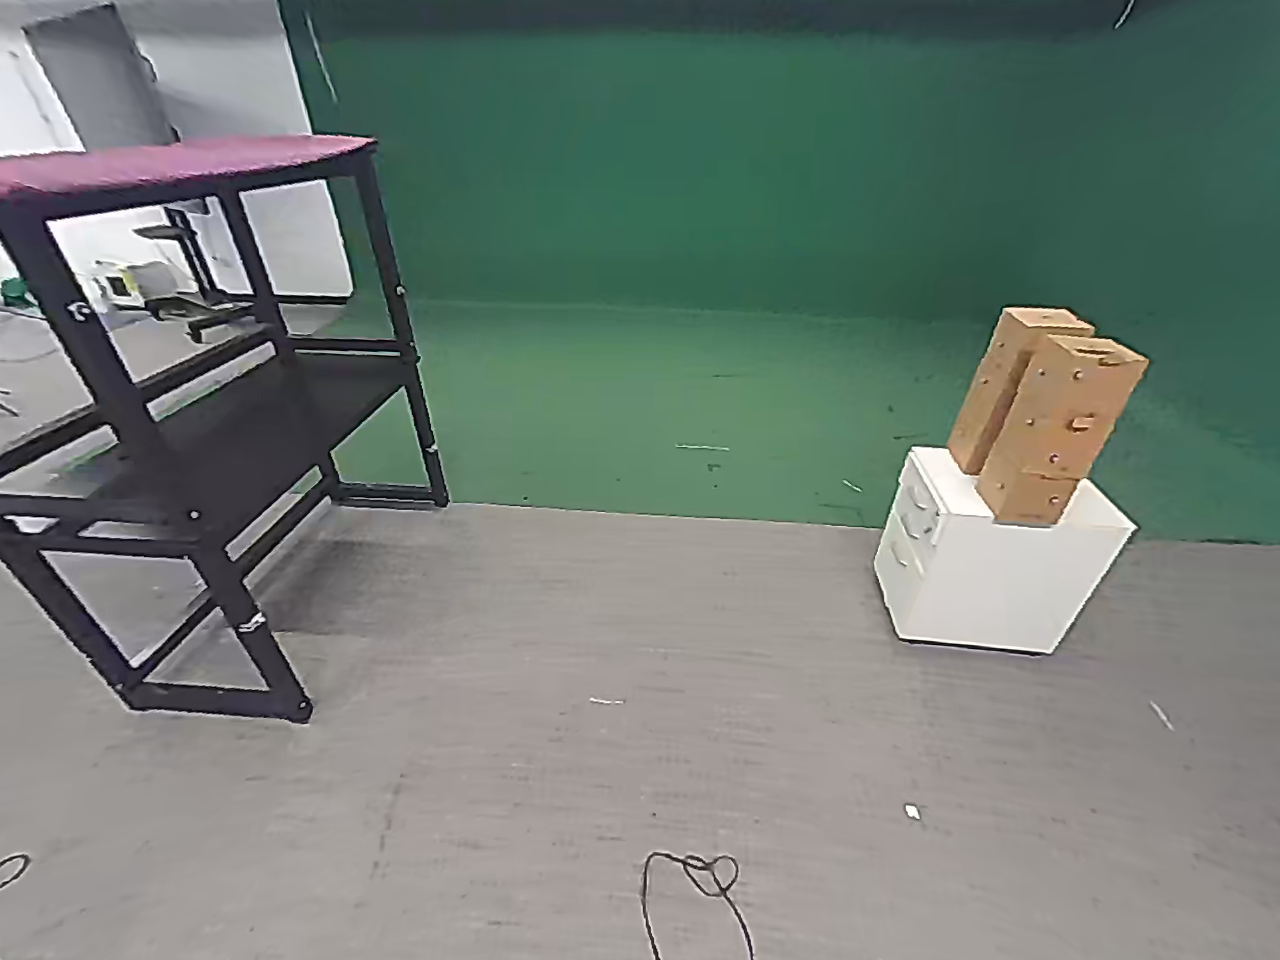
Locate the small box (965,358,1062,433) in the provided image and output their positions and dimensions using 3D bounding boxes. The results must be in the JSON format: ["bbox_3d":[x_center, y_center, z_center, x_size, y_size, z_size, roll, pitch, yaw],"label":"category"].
[{"bbox_3d":[1.152,-0.266,1.687,0.168,0.176,0.179,5,36,5],"label":"small box"}]

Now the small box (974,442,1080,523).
[{"bbox_3d":[1.118,0.008,1.578,0.168,0.176,0.179,6,32,4],"label":"small box"}]

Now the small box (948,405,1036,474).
[{"bbox_3d":[1.146,-0.130,1.780,0.168,0.176,0.179,4,35,6],"label":"small box"}]

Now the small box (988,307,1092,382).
[{"bbox_3d":[1.158,-0.398,1.588,0.179,0.176,0.168,5,36,5],"label":"small box"}]
